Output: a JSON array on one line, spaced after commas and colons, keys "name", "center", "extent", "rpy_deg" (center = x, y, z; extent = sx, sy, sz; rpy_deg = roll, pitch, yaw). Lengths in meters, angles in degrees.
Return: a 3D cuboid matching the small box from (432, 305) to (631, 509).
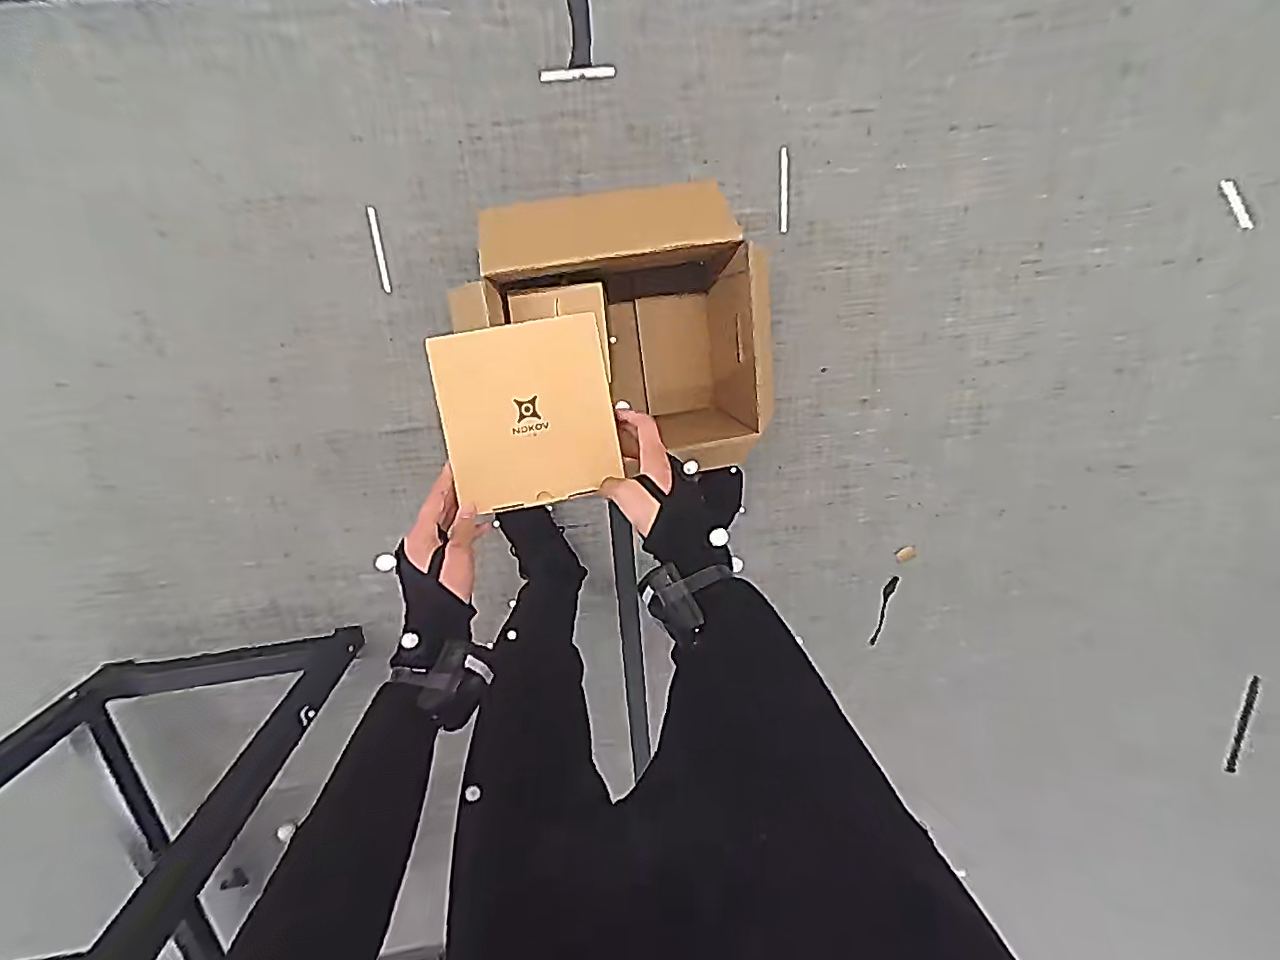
[{"name": "small box", "center": [-0.108, -0.074, 0.597], "extent": [0.168, 0.176, 0.179], "rpy_deg": [-11, 95, -3]}]
